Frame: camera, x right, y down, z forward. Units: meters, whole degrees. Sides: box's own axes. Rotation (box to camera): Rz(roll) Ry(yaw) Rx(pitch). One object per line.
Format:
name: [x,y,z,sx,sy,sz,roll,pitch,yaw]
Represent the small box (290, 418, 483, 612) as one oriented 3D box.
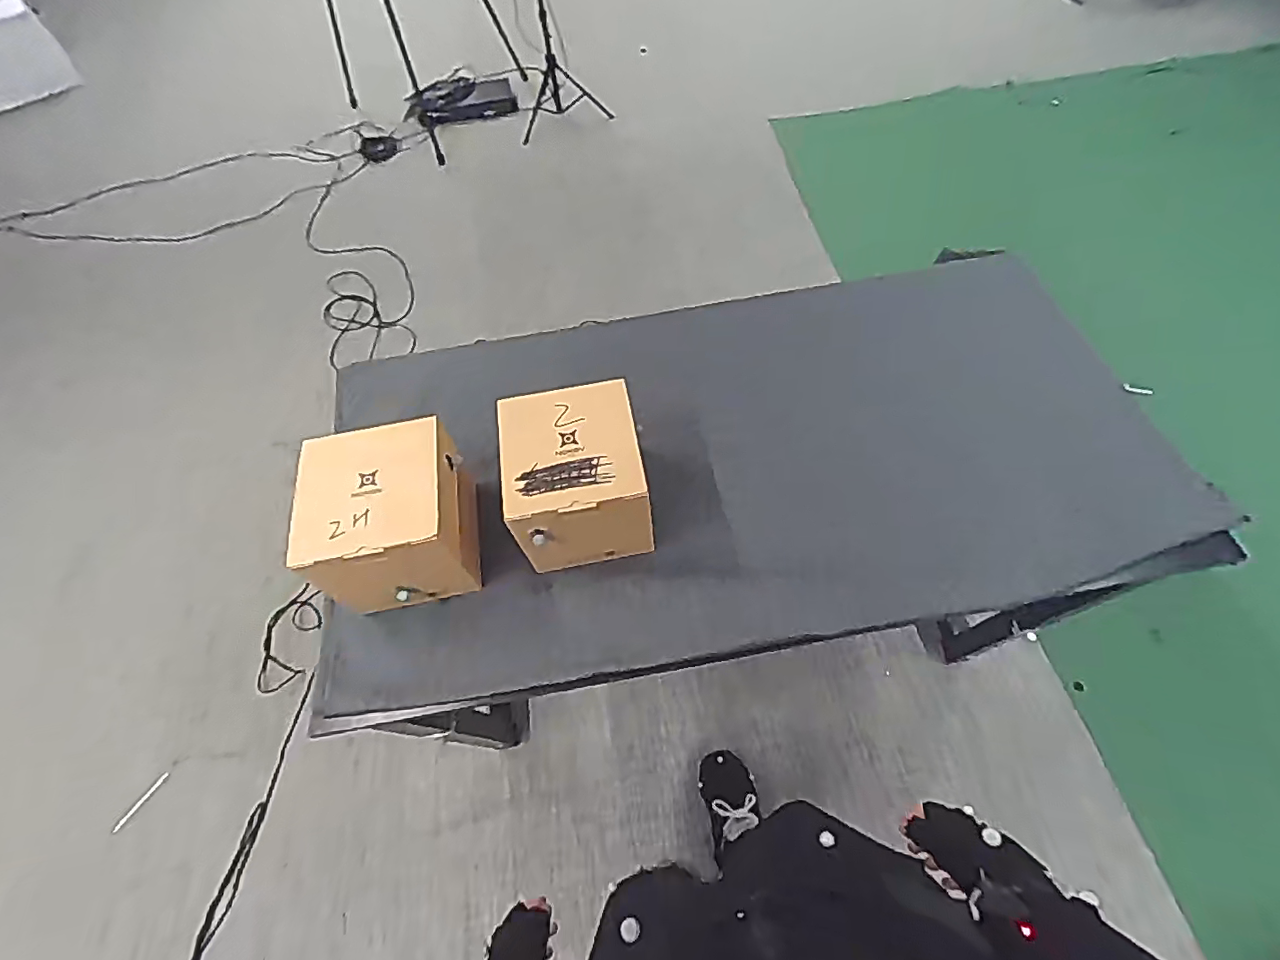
small box: [-0.309,0.049,0.695,0.168,0.176,0.179,-11,59,-4]
